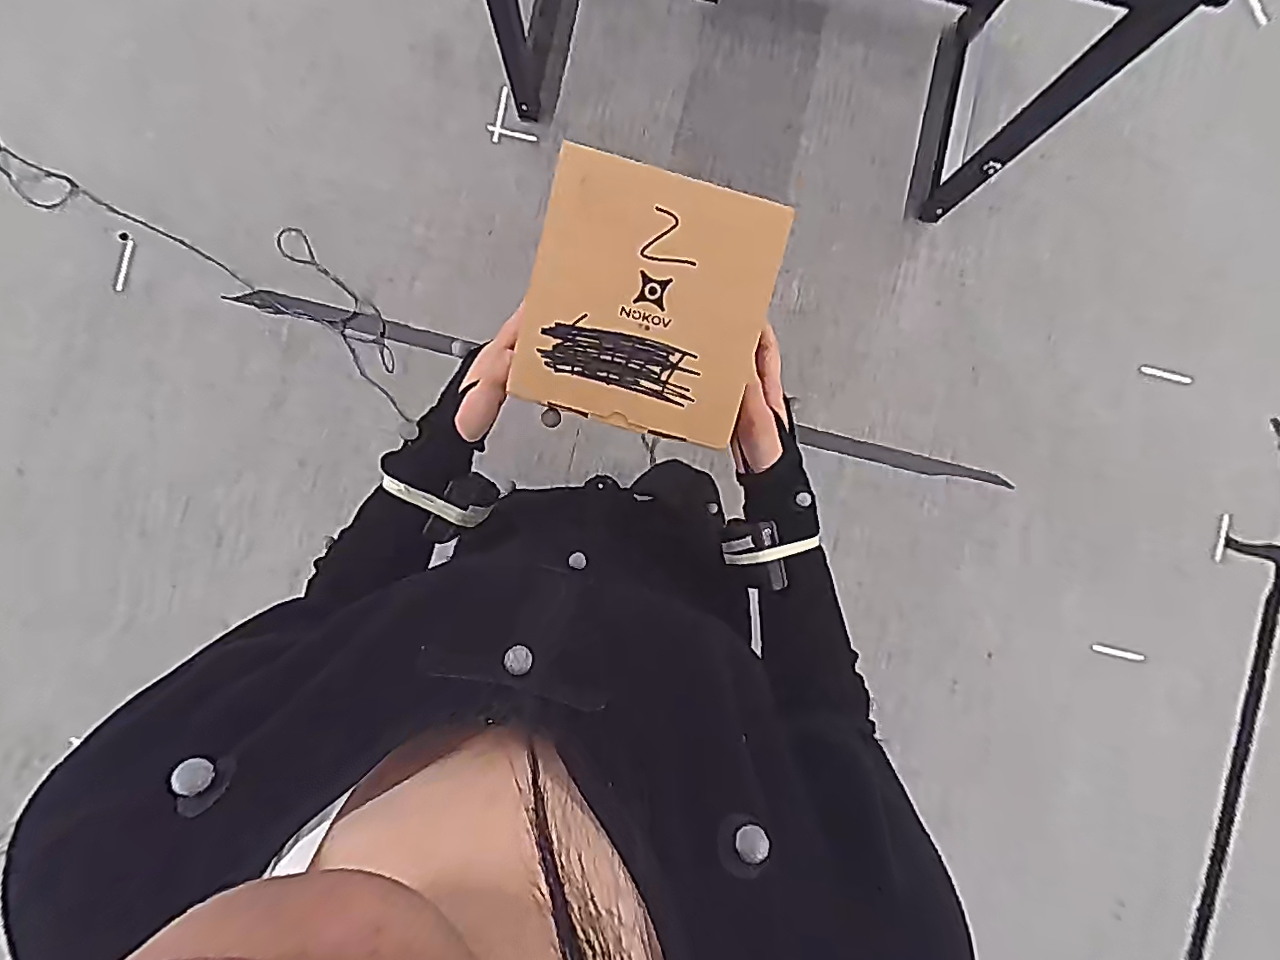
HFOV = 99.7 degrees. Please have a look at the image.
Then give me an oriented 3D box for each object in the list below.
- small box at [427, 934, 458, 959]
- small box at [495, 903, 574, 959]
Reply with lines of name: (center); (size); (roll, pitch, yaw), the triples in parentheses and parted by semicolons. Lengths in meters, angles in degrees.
small box: (-0.587, 1.307, 1.386); (0.179, 0.176, 0.168); (7, 91, -2)
small box: (-0.277, 1.248, 1.394); (0.179, 0.176, 0.168); (21, 89, -4)
